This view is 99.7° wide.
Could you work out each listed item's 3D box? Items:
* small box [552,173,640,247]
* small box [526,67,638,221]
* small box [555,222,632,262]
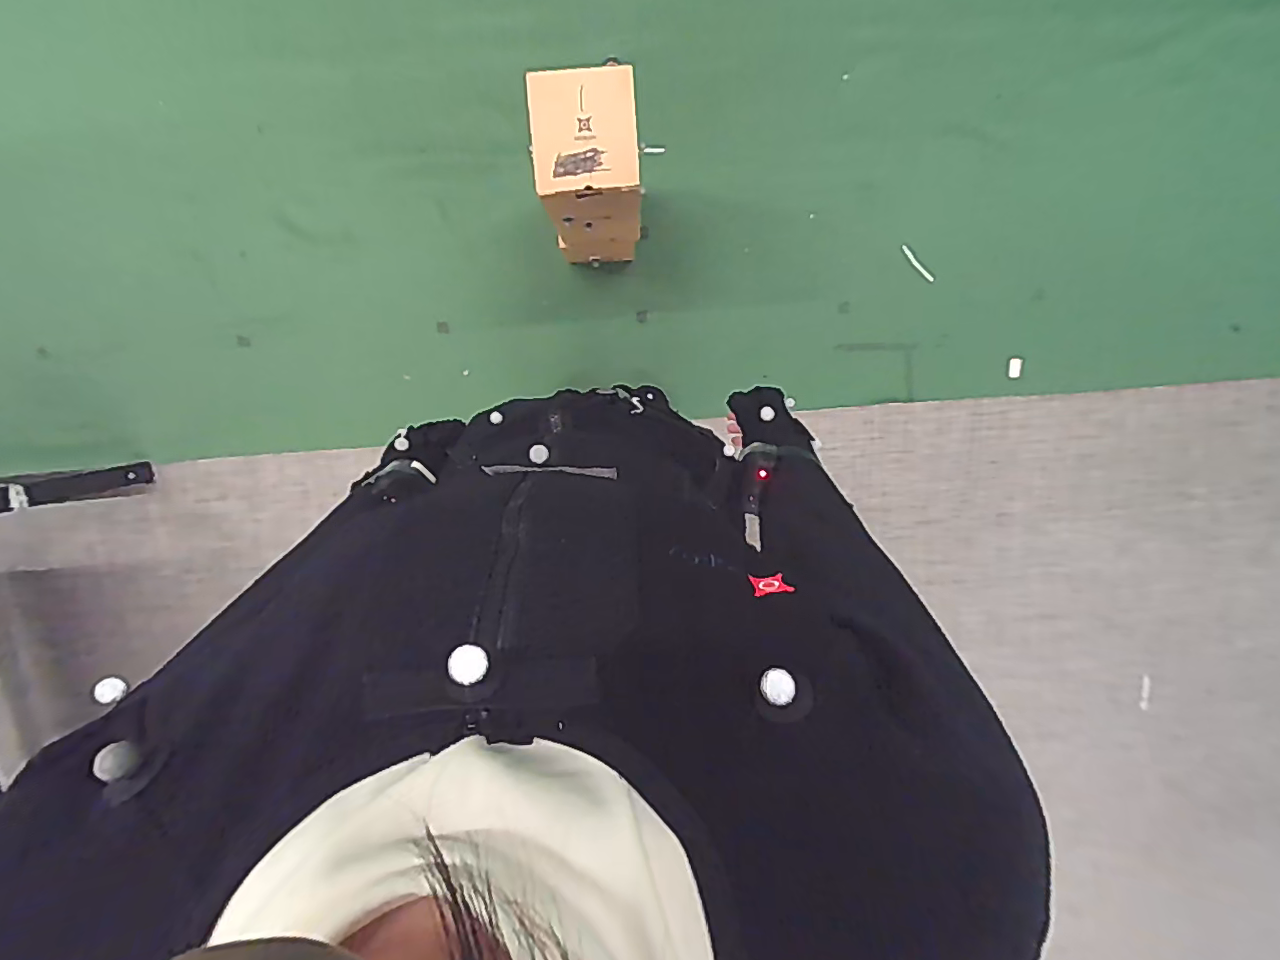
[{"bbox_3d":[-0.088,-0.581,1.075,0.168,0.176,0.179,-4,99,0],"label":"small box"},{"bbox_3d":[-0.088,-0.551,0.913,0.168,0.176,0.179,-4,99,0],"label":"small box"},{"bbox_3d":[-0.101,-0.601,1.218,0.168,0.176,0.179,-1,101,1],"label":"small box"}]
